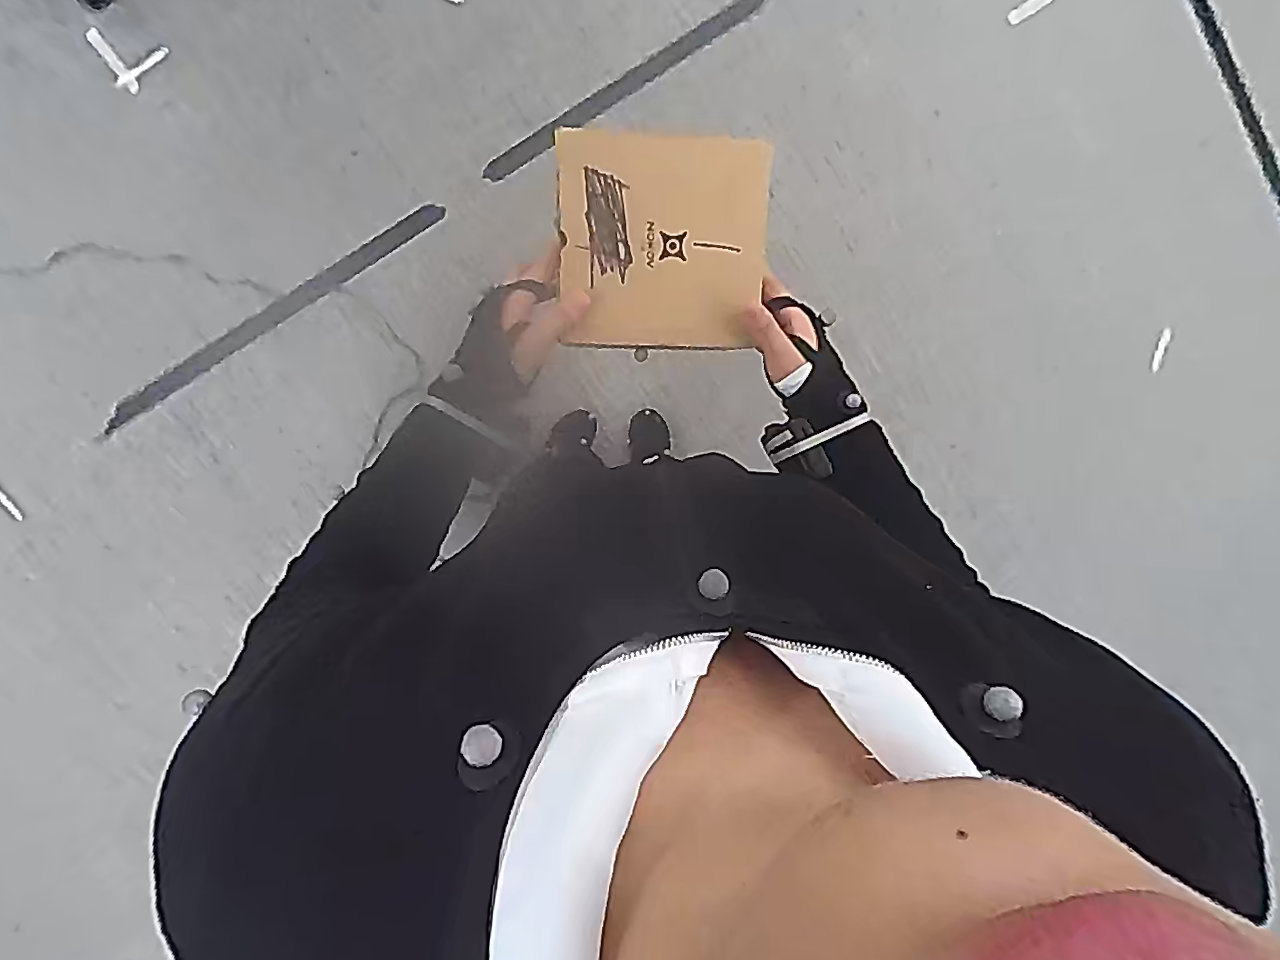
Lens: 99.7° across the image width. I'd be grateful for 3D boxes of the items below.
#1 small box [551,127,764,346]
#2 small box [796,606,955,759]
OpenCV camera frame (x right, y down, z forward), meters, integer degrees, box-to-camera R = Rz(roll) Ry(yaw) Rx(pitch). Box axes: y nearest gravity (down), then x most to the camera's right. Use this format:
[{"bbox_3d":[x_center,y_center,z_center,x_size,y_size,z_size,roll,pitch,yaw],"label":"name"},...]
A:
[{"bbox_3d":[0.008,-0.220,0.533,0.179,0.176,0.168,-1,103,-6],"label":"small box"},{"bbox_3d":[0.427,0.364,1.007,0.168,0.176,0.179,-39,94,-2],"label":"small box"}]
